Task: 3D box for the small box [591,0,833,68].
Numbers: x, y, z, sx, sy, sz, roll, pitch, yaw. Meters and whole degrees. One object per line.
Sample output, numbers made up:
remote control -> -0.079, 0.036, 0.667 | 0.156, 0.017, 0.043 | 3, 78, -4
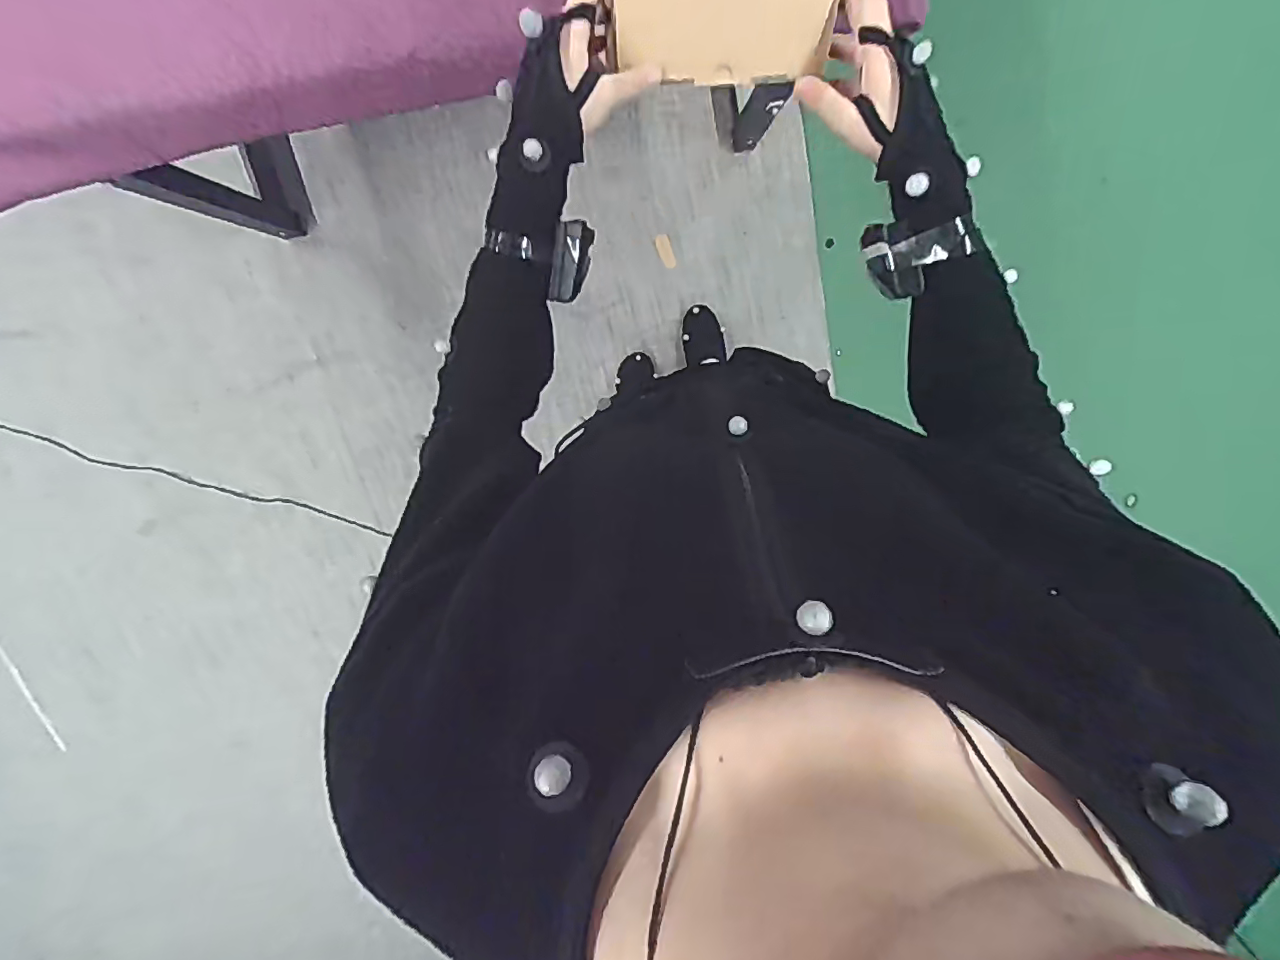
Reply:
small box -> 0.046, -0.429, 0.399 | 0.168, 0.176, 0.179 | -7, 137, -5
